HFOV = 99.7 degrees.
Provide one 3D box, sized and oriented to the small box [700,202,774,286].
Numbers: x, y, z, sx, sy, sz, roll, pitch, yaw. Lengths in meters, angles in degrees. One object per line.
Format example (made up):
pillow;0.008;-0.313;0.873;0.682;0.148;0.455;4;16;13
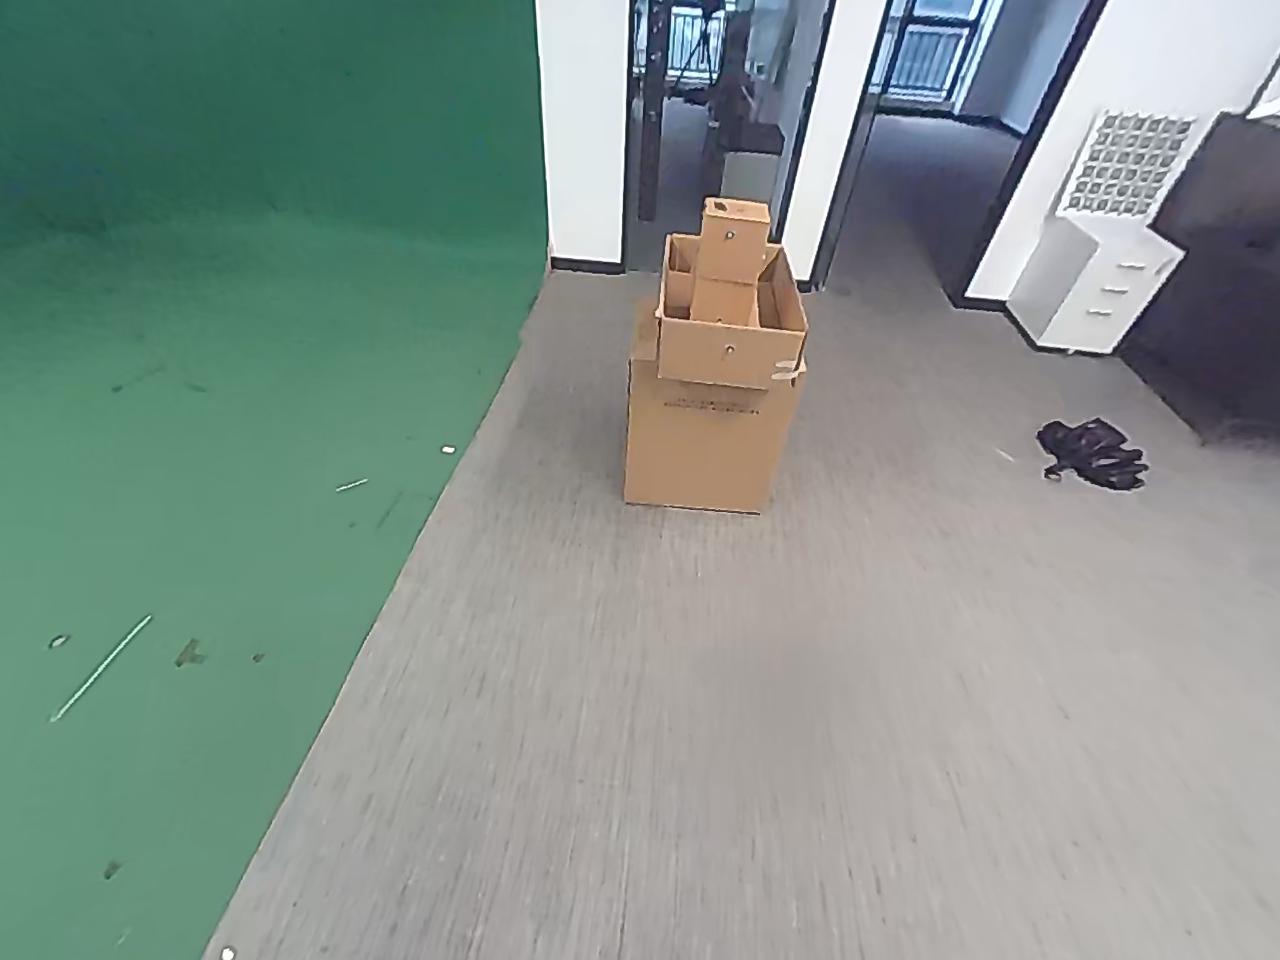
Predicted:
small box;0.268;-0.663;1.524;0.179;0.176;0.168;9;42;2

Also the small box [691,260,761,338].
small box;0.255;-0.546;1.638;0.179;0.176;0.168;7;41;0
